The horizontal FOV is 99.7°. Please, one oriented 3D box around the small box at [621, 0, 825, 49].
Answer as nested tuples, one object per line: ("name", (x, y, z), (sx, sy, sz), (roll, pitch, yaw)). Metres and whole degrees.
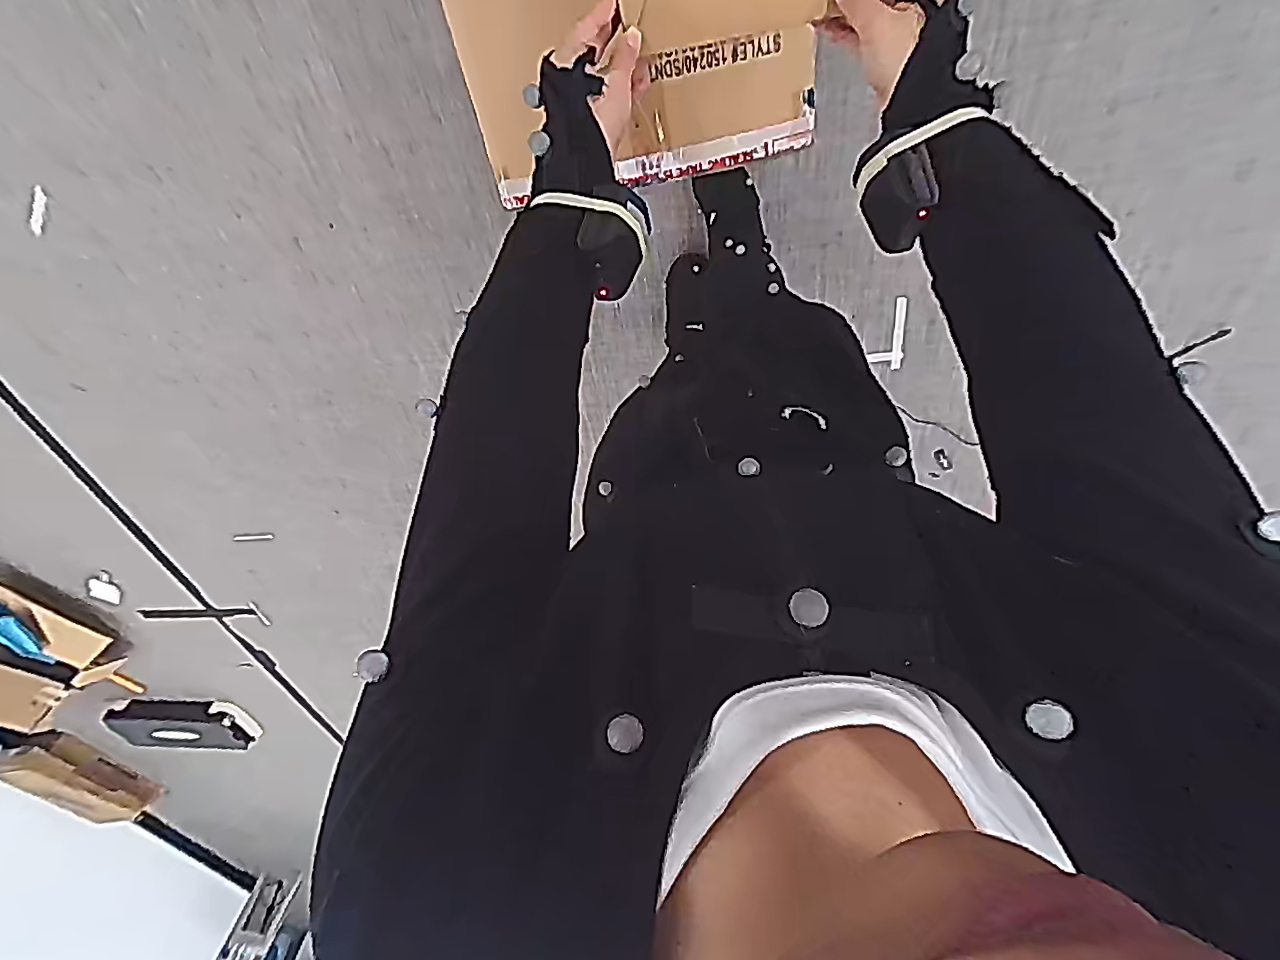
("small box", (0.060, -0.449, 0.394), (0.168, 0.176, 0.179), (-5, 138, 9))
